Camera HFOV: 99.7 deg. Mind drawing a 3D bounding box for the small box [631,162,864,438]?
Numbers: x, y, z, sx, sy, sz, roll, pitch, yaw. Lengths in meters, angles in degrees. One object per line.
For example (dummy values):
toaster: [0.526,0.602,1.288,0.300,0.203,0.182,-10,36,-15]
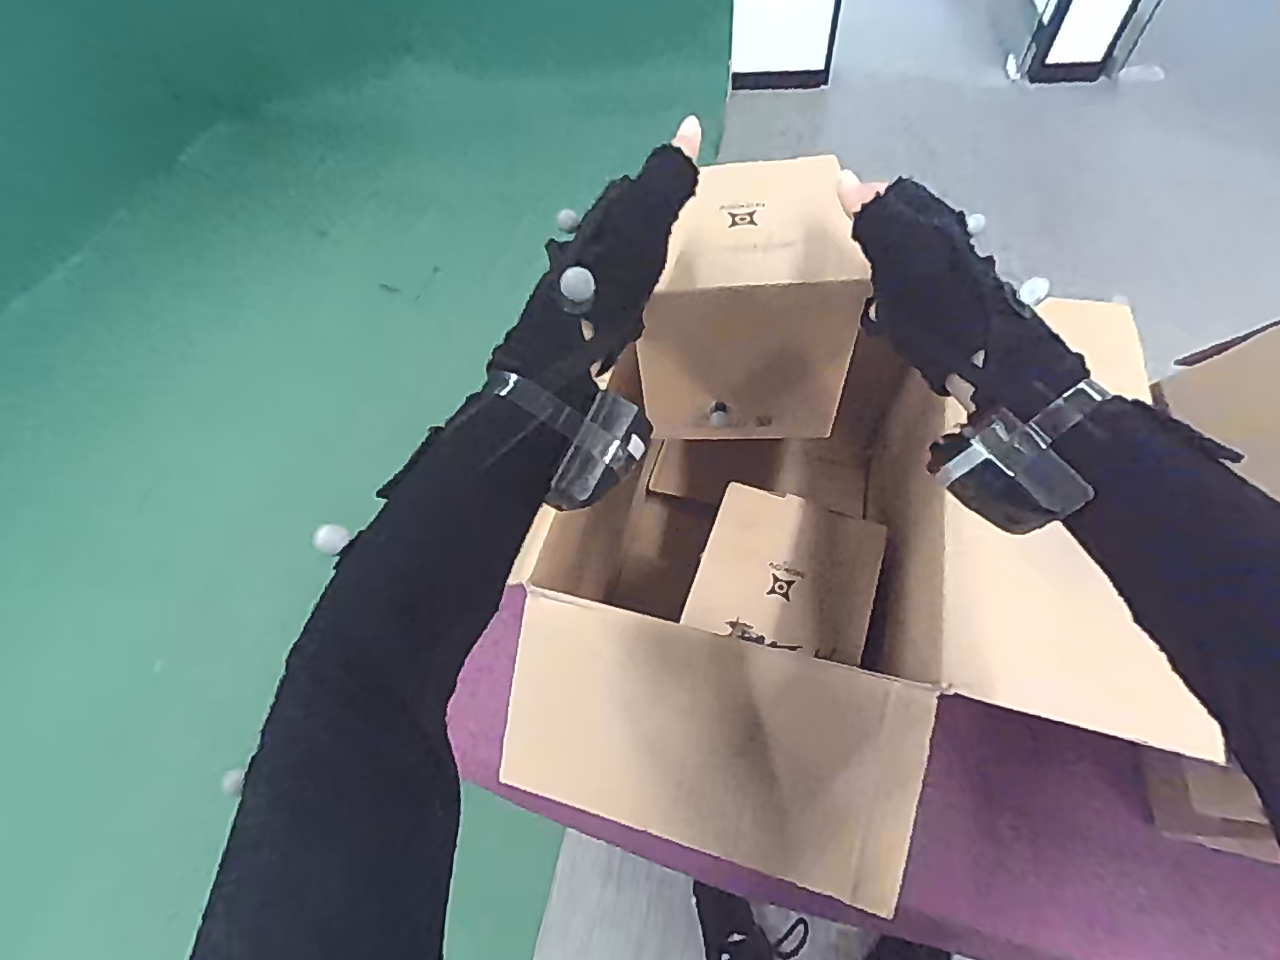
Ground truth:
small box: [0.089,-0.157,0.492,0.168,0.176,0.179,-1,55,8]
